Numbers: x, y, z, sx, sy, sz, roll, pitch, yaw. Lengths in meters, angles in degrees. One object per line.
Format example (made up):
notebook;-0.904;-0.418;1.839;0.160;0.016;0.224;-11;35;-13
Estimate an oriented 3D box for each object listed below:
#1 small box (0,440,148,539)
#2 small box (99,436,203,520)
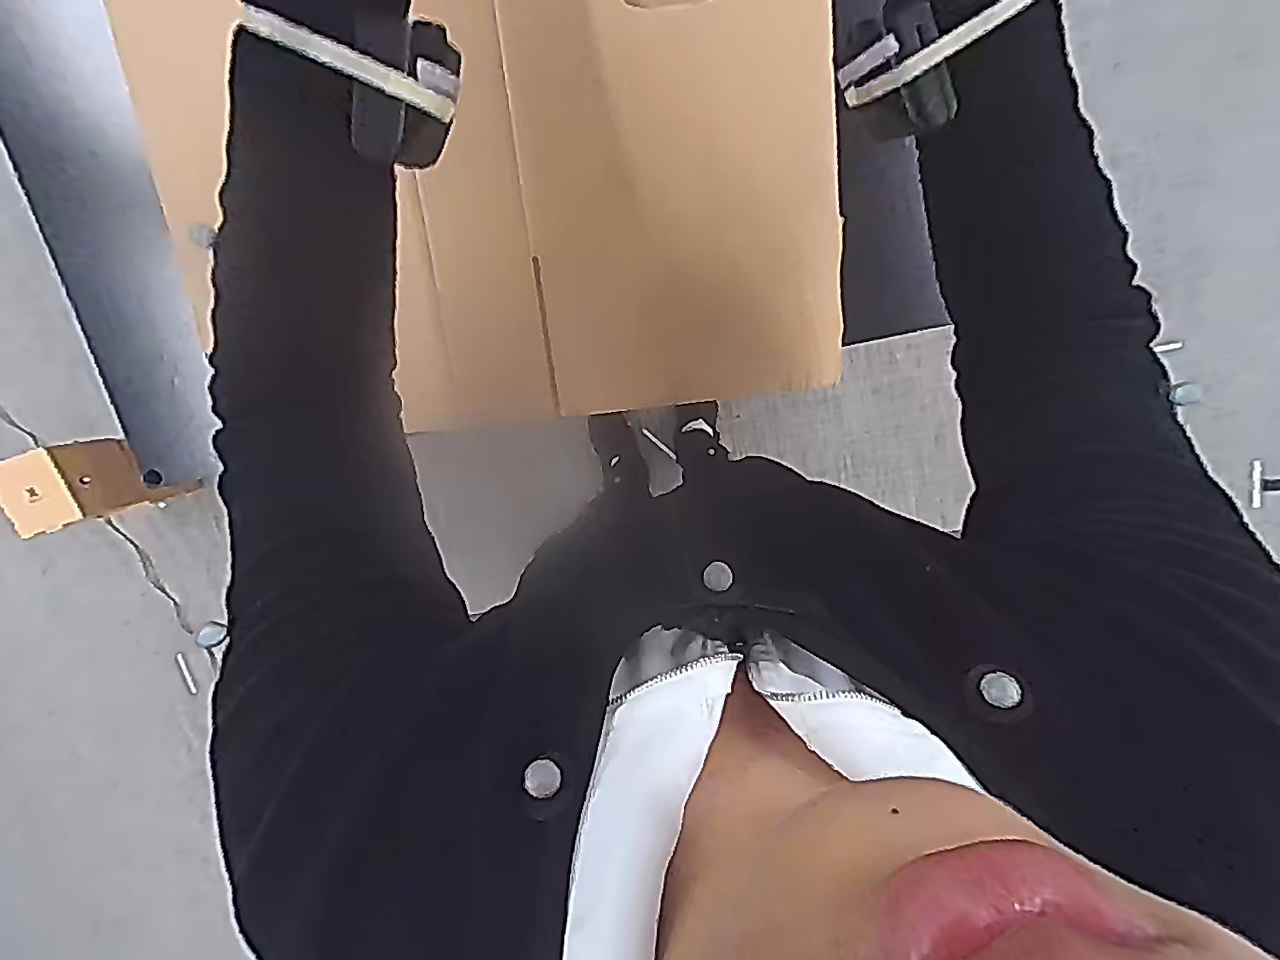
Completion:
small box;-1.347;0.017;1.289;0.168;0.176;0.179;-18;101;5
small box;-1.341;-0.013;1.449;0.168;0.176;0.179;-15;102;5
